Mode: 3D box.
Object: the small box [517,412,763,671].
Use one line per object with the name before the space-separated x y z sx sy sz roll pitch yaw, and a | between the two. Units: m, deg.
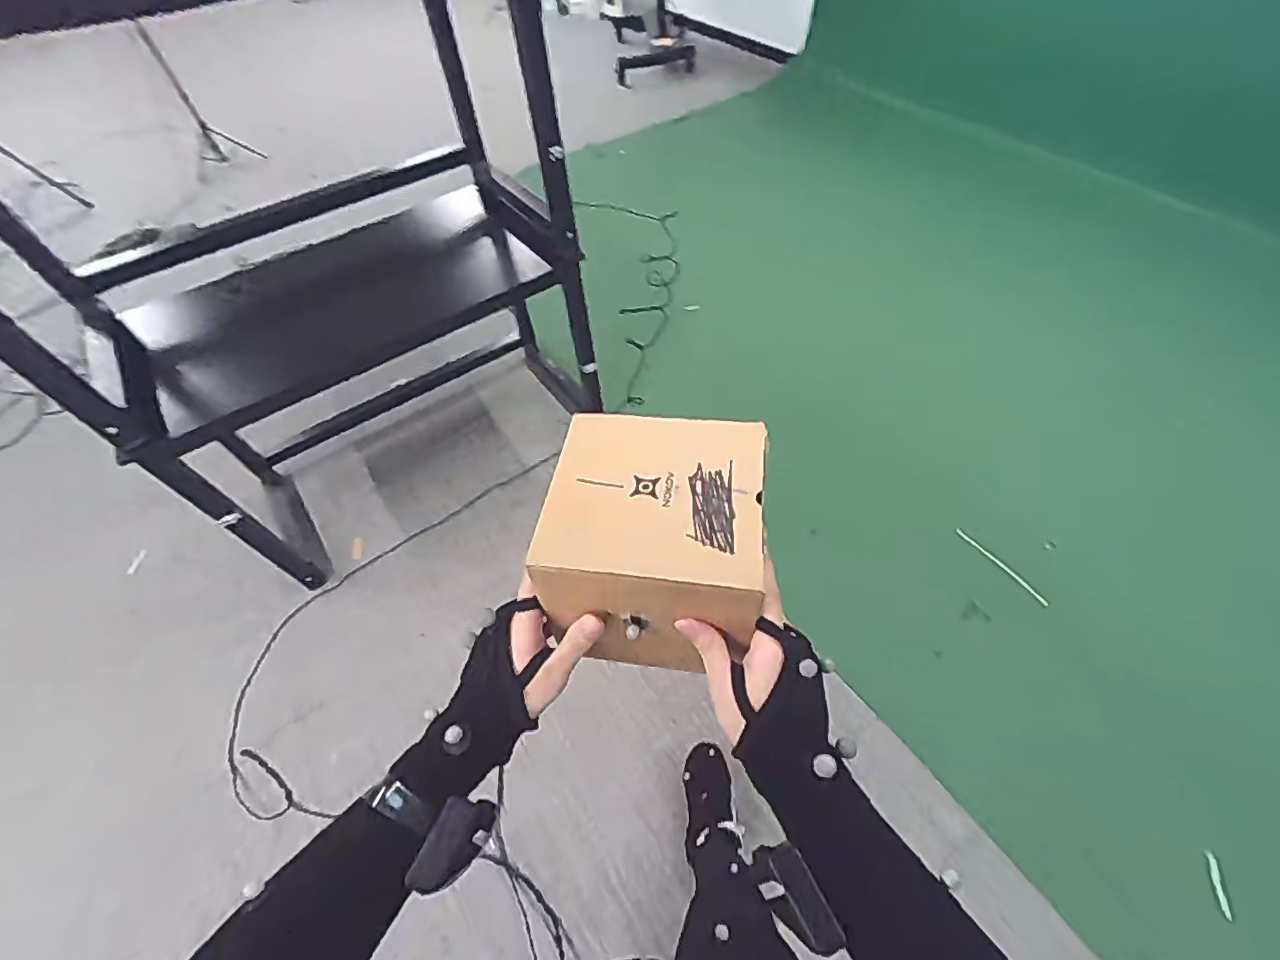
small box | 0.013 0.059 0.491 0.179 0.176 0.168 4 49 9
